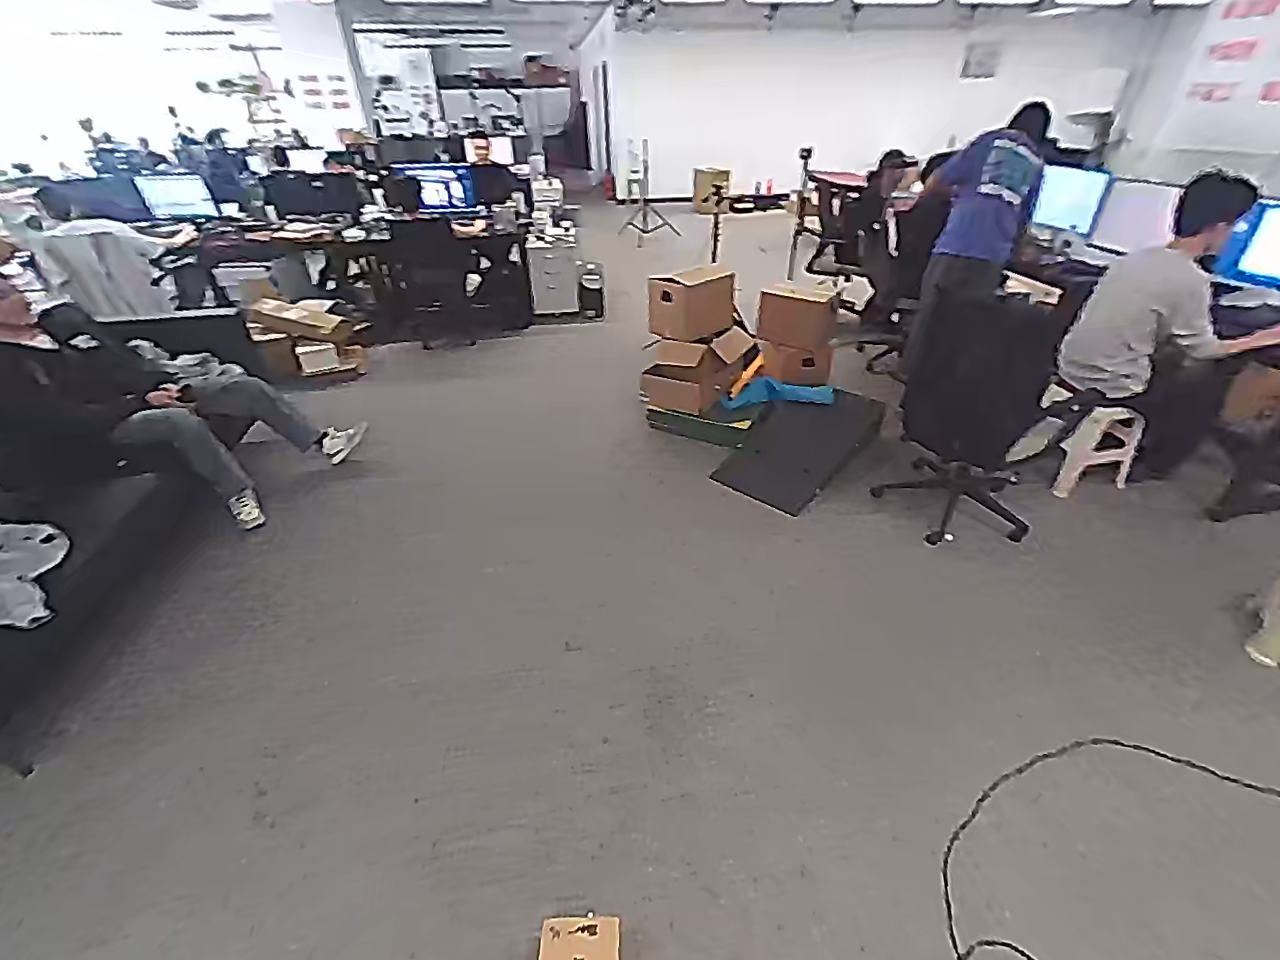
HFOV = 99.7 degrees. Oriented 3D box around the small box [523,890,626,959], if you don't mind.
[{"bbox_3d":[-0.125,1.040,1.152,0.179,0.176,0.168,-21,37,-23],"label":"small box"}]
